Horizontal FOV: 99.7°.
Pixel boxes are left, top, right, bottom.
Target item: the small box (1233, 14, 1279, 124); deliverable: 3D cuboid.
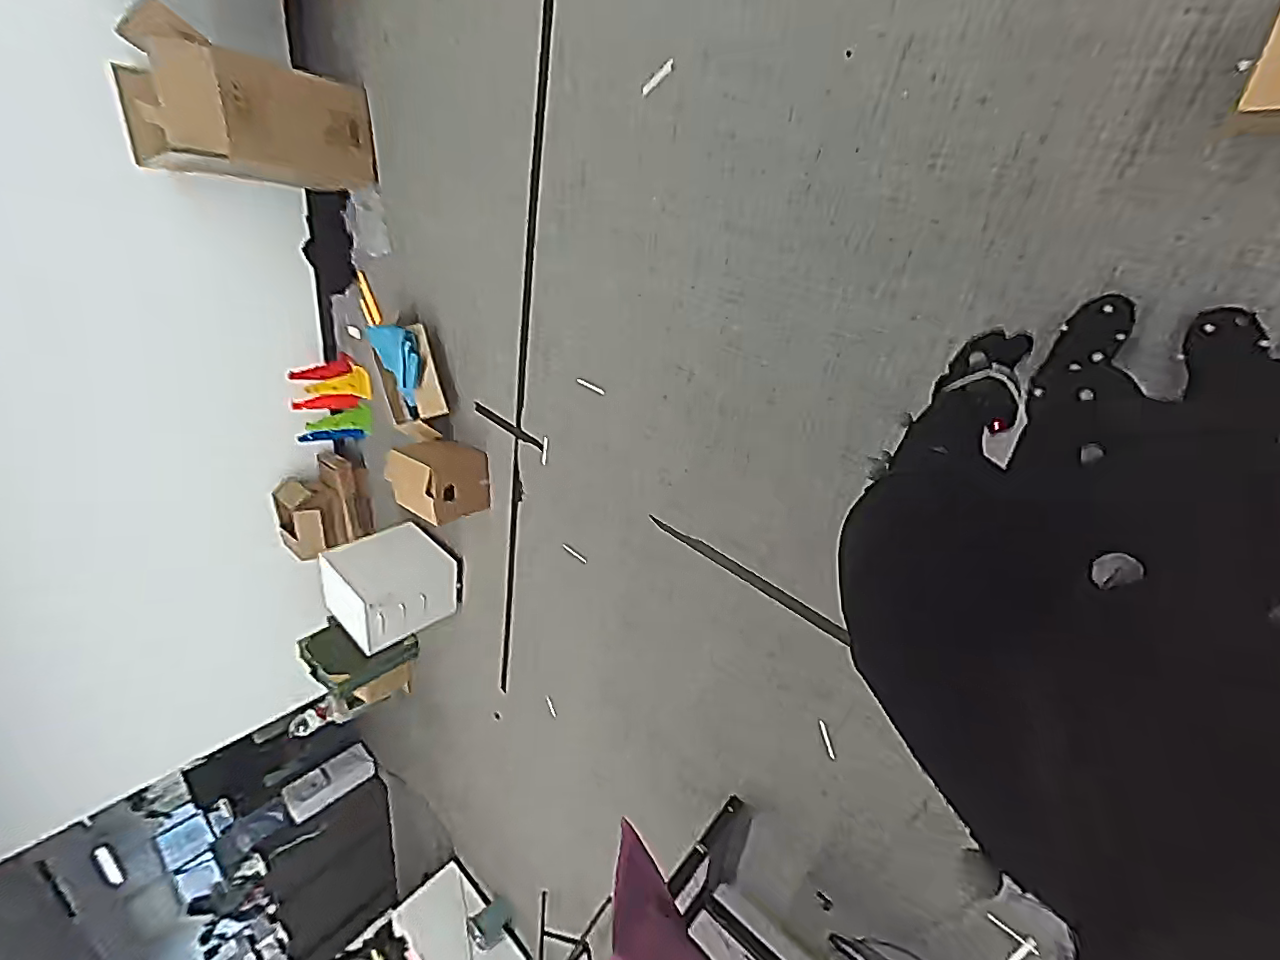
[{"bbox_3d":[1.047,-0.643,0.803,0.179,0.176,0.168,24,120,36],"label":"small box"}]
